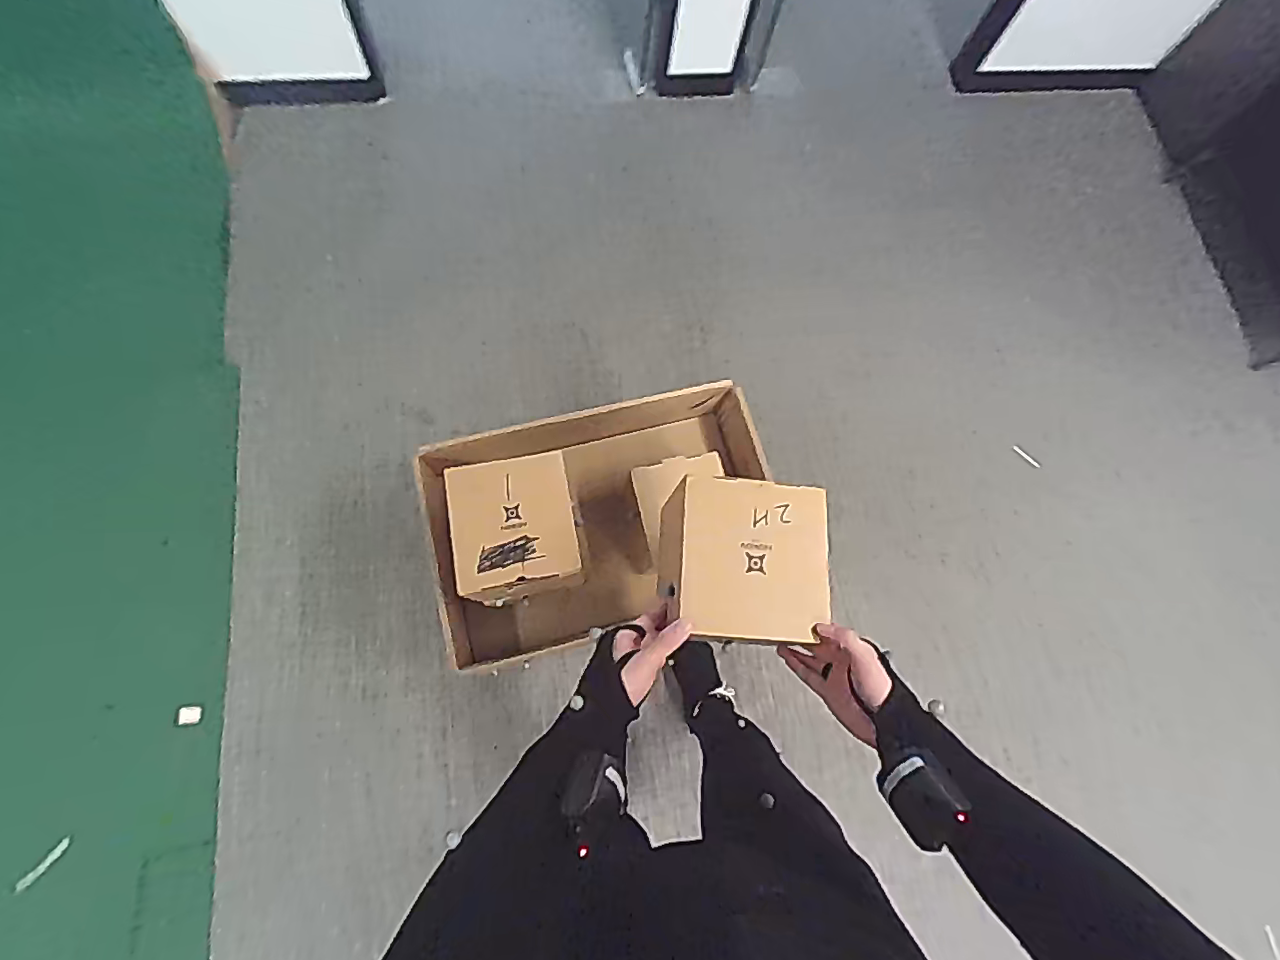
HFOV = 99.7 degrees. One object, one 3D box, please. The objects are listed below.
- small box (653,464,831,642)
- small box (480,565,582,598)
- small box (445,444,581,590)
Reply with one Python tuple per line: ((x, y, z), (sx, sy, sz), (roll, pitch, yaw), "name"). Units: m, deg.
((0.114, 0.097, 0.654), (0.168, 0.176, 0.179), (8, 73, -8), "small box")
((-0.198, 0.107, 0.956), (0.168, 0.176, 0.179), (-12, 76, -9), "small box")
((-0.178, 0.063, 0.799), (0.168, 0.176, 0.179), (-8, 75, -9), "small box")
